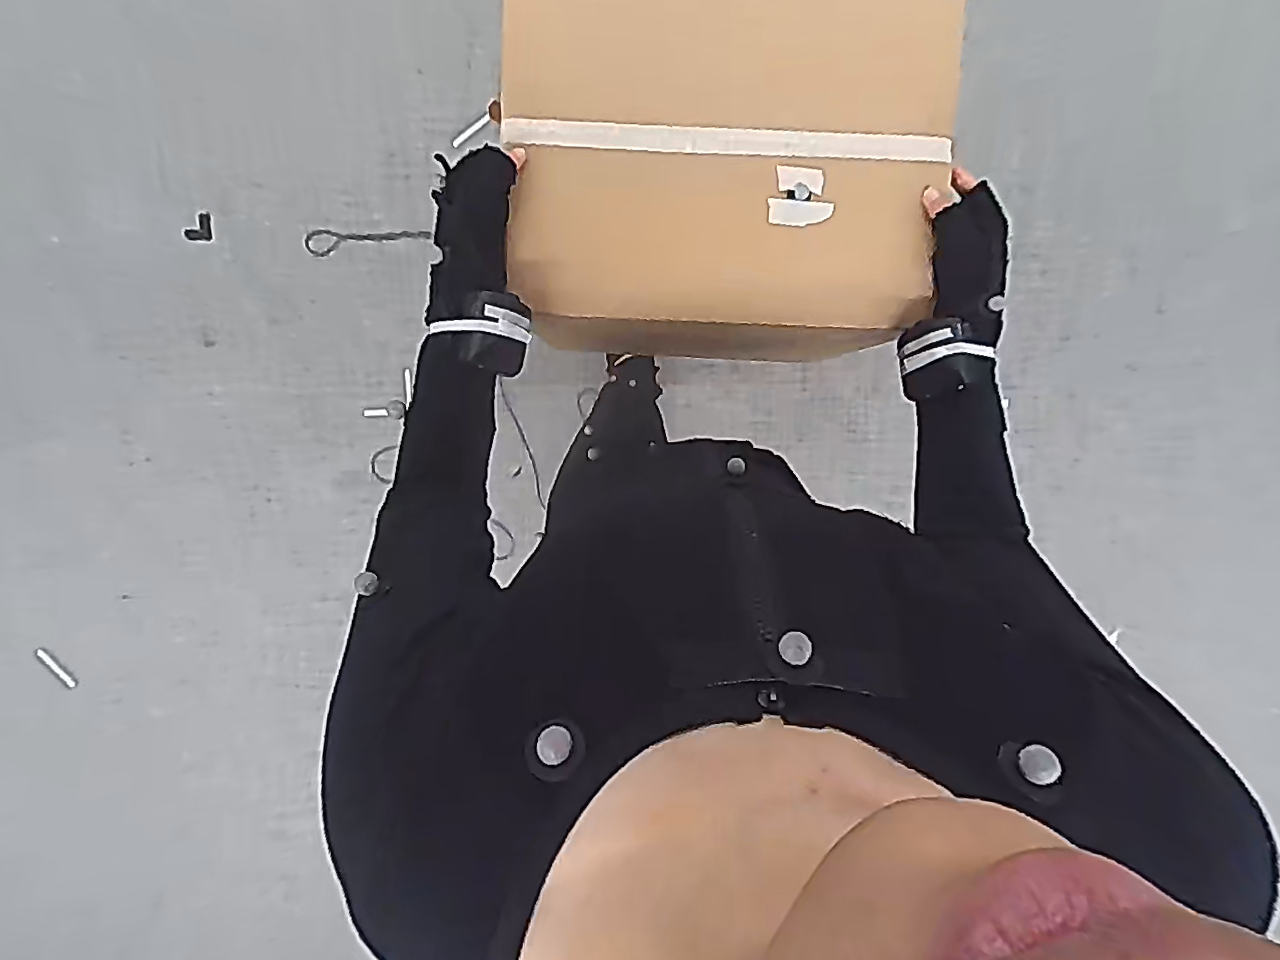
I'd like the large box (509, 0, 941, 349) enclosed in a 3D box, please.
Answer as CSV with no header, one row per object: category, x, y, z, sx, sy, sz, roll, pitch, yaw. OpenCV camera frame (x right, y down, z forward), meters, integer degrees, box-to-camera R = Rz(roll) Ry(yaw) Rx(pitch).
large box,0.072,-0.335,0.654,0.408,0.320,0.320,1,98,-2
